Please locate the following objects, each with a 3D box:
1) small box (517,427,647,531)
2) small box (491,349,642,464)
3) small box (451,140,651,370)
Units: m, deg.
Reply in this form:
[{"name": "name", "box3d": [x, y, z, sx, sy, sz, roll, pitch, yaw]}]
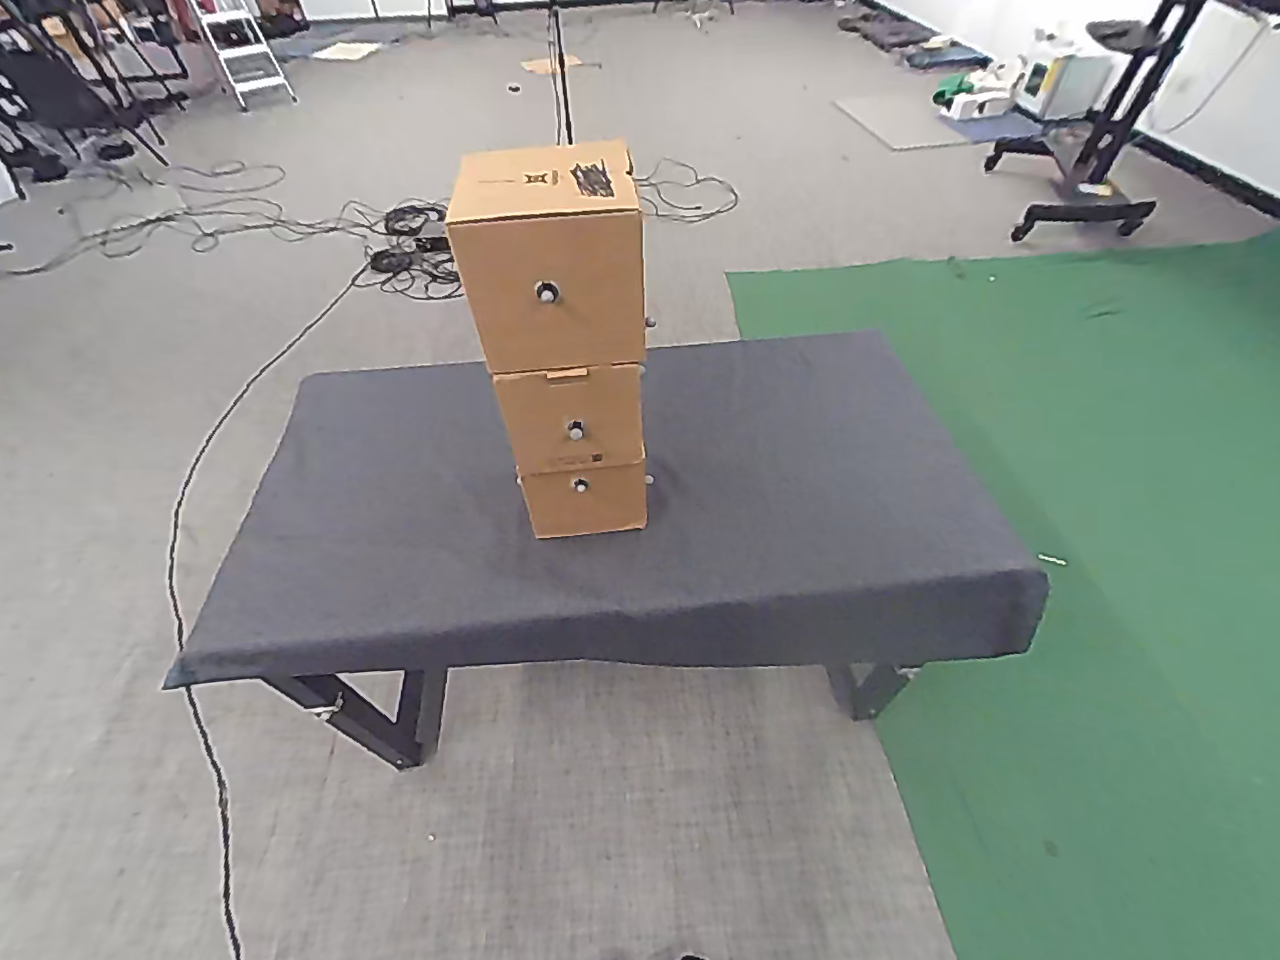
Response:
[{"name": "small box", "box3d": [-0.084, -0.034, 0.837, 0.179, 0.176, 0.168, -5, 51, -4]}, {"name": "small box", "box3d": [-0.088, -0.134, 0.708, 0.168, 0.176, 0.179, -6, 51, -3]}, {"name": "small box", "box3d": [-0.087, -0.237, 0.579, 0.179, 0.176, 0.168, -7, 51, -5]}]
